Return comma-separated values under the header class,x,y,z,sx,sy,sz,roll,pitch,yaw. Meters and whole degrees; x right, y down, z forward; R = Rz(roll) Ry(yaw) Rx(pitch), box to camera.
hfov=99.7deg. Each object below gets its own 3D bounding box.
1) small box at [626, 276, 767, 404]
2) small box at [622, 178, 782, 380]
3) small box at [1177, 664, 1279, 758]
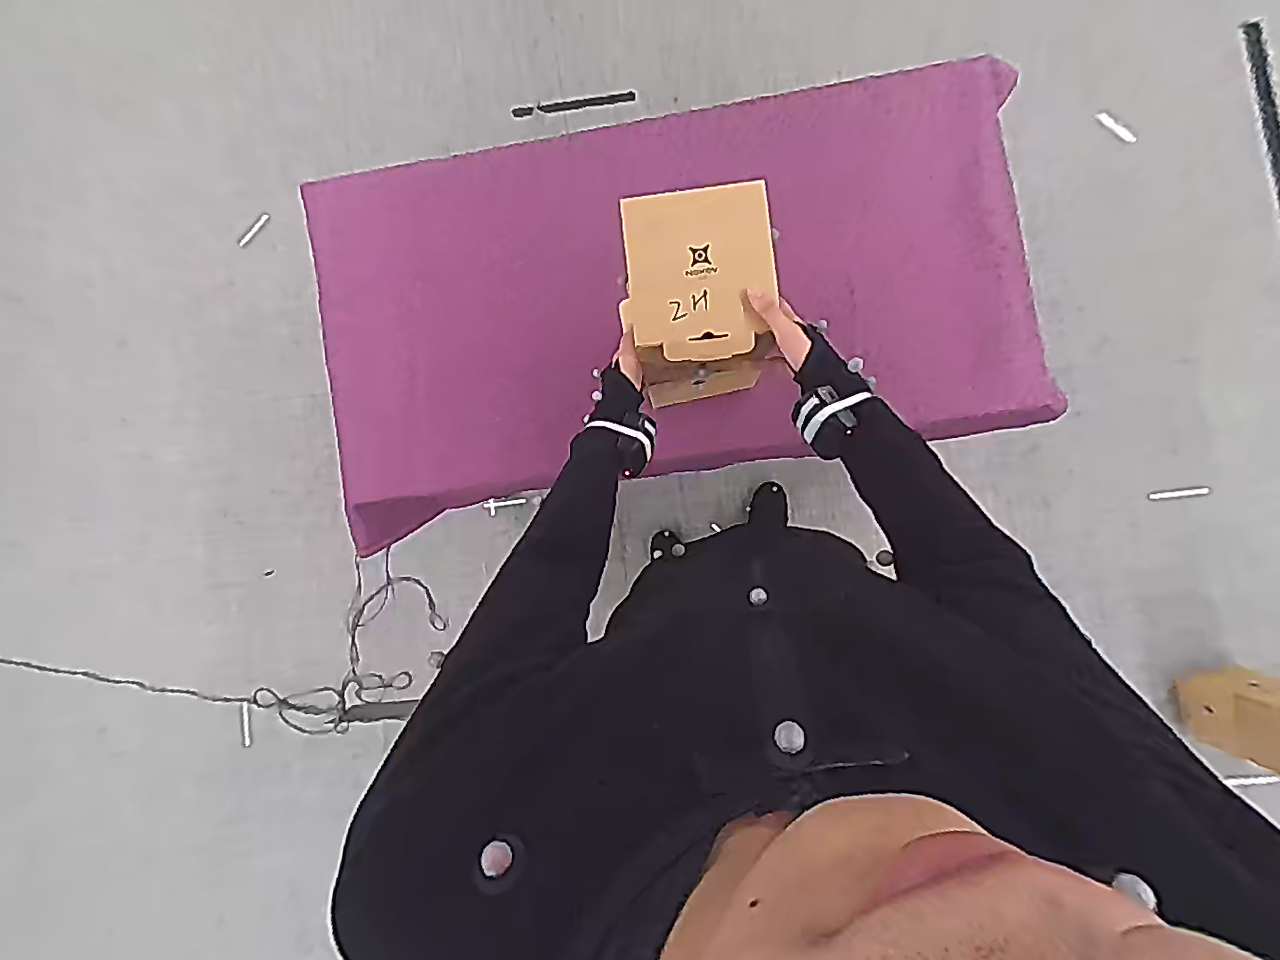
class,x,y,z,sx,sy,sz,roll,pitch,yaw
small box,0.085,-0.225,0.841,0.179,0.176,0.168,-12,86,3
small box,0.072,-0.237,0.677,0.168,0.176,0.179,-6,86,4
small box,1.572,0.599,1.416,0.179,0.176,0.168,-12,86,4
